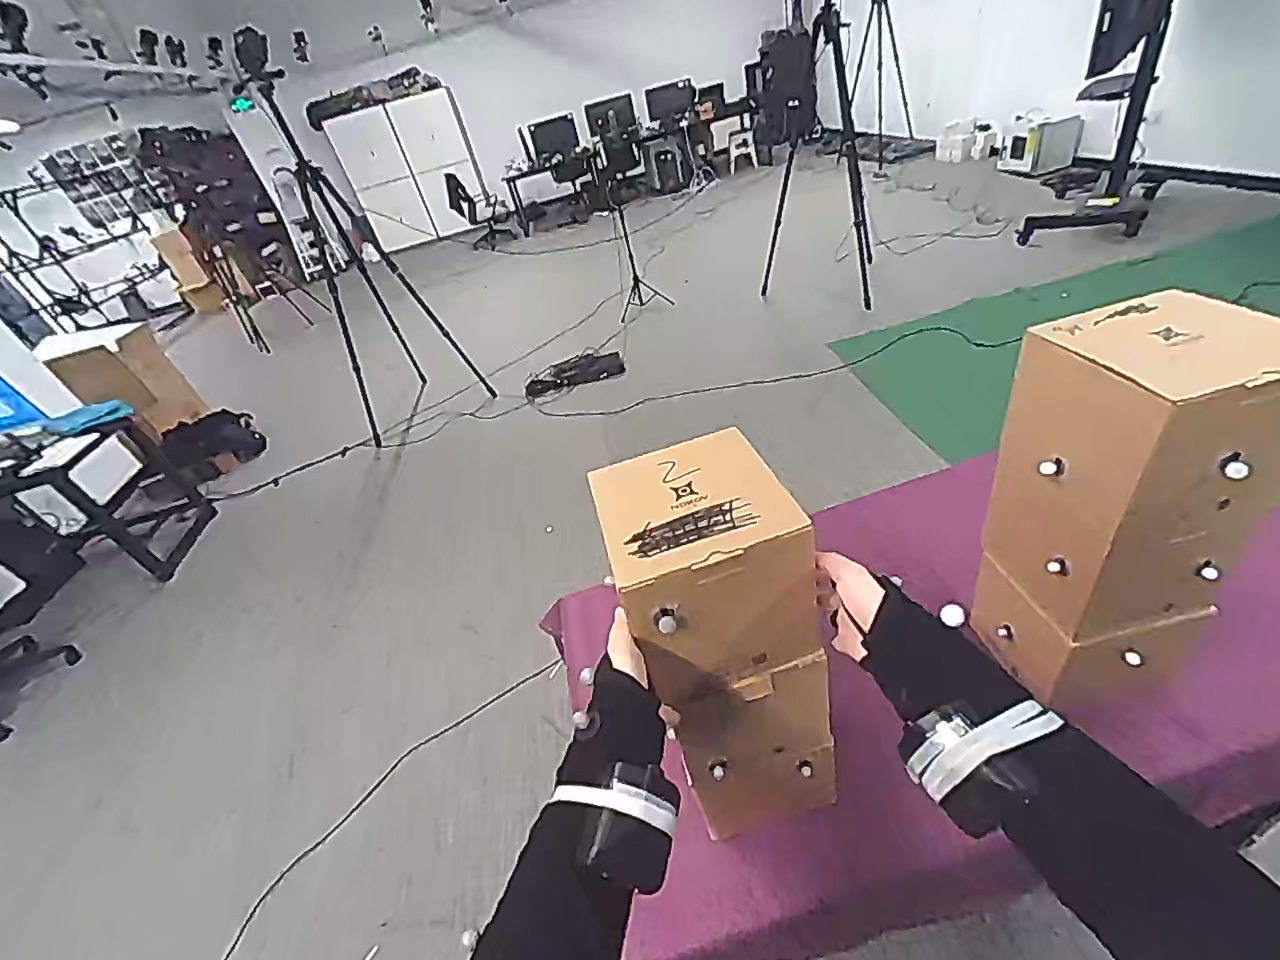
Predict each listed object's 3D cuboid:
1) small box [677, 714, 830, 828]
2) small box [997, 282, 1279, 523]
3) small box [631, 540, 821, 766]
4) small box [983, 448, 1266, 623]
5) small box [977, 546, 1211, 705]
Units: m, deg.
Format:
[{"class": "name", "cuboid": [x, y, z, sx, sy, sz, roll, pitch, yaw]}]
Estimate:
[{"class": "small box", "cuboid": [0.142, 0.335, 0.731, 0.179, 0.176, 0.168, -17, 36, -1]}, {"class": "small box", "cuboid": [0.510, -0.074, 0.555, 0.168, 0.176, 0.179, -15, 37, 2]}, {"class": "small box", "cuboid": [0.101, 0.207, 0.637, 0.168, 0.176, 0.179, -17, 35, -2]}, {"class": "small box", "cuboid": [0.553, 0.051, 0.652, 0.168, 0.176, 0.179, -15, 36, 3]}, {"class": "small box", "cuboid": [0.594, 0.181, 0.742, 0.179, 0.176, 0.168, -15, 37, 3]}]
